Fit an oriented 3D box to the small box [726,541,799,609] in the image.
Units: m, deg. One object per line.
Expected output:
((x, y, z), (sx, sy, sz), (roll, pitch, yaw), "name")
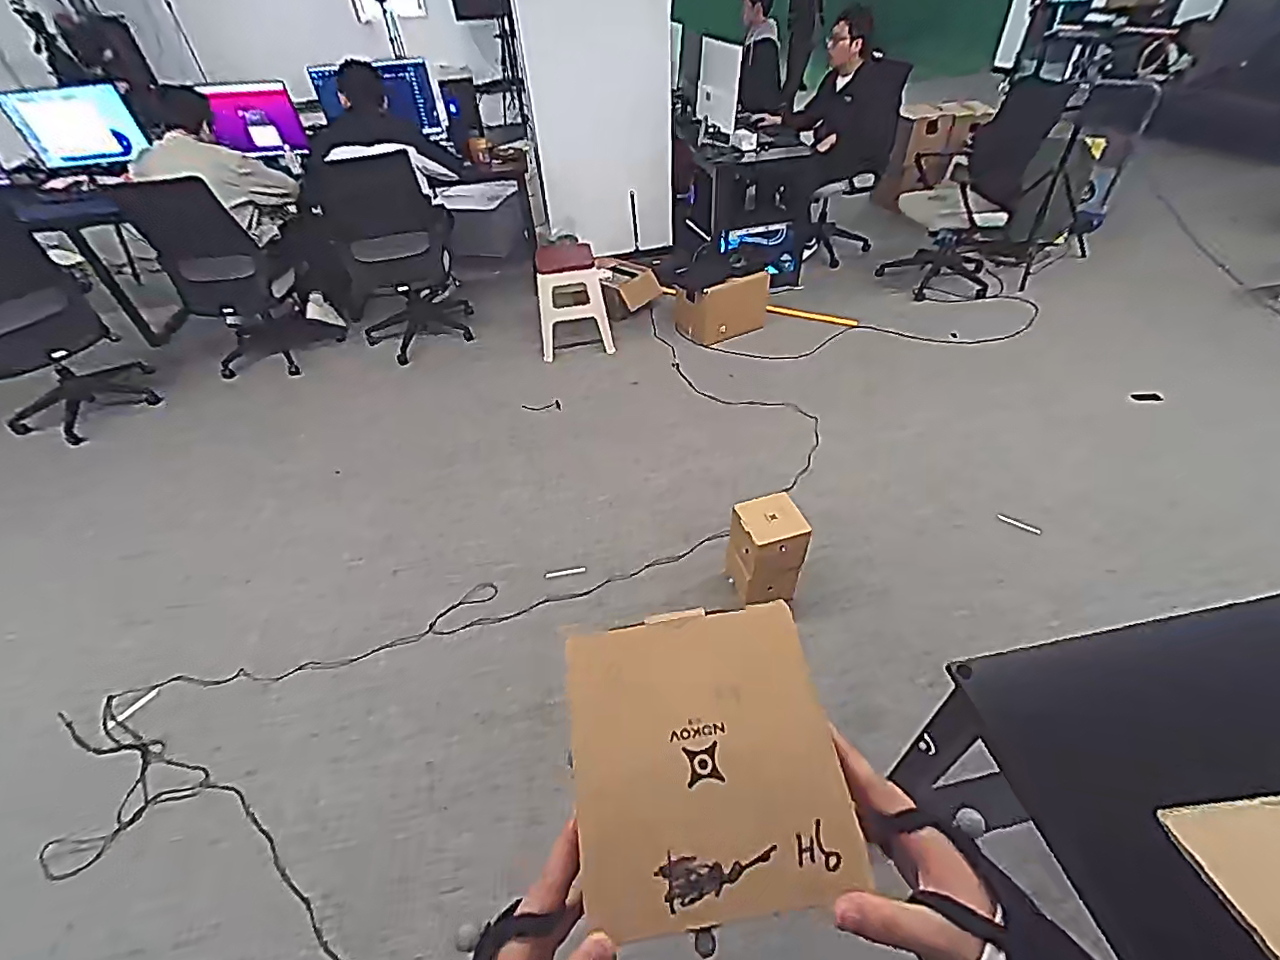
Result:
((0.386, 0.293, 1.735), (0.179, 0.176, 0.168), (-13, 44, -8), "small box")

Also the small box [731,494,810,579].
((0.383, 0.173, 1.625), (0.179, 0.176, 0.168), (-14, 45, -12), "small box")

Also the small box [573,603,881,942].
((0.046, 0.217, 0.410), (0.168, 0.176, 0.179), (-9, 55, -2), "small box")
